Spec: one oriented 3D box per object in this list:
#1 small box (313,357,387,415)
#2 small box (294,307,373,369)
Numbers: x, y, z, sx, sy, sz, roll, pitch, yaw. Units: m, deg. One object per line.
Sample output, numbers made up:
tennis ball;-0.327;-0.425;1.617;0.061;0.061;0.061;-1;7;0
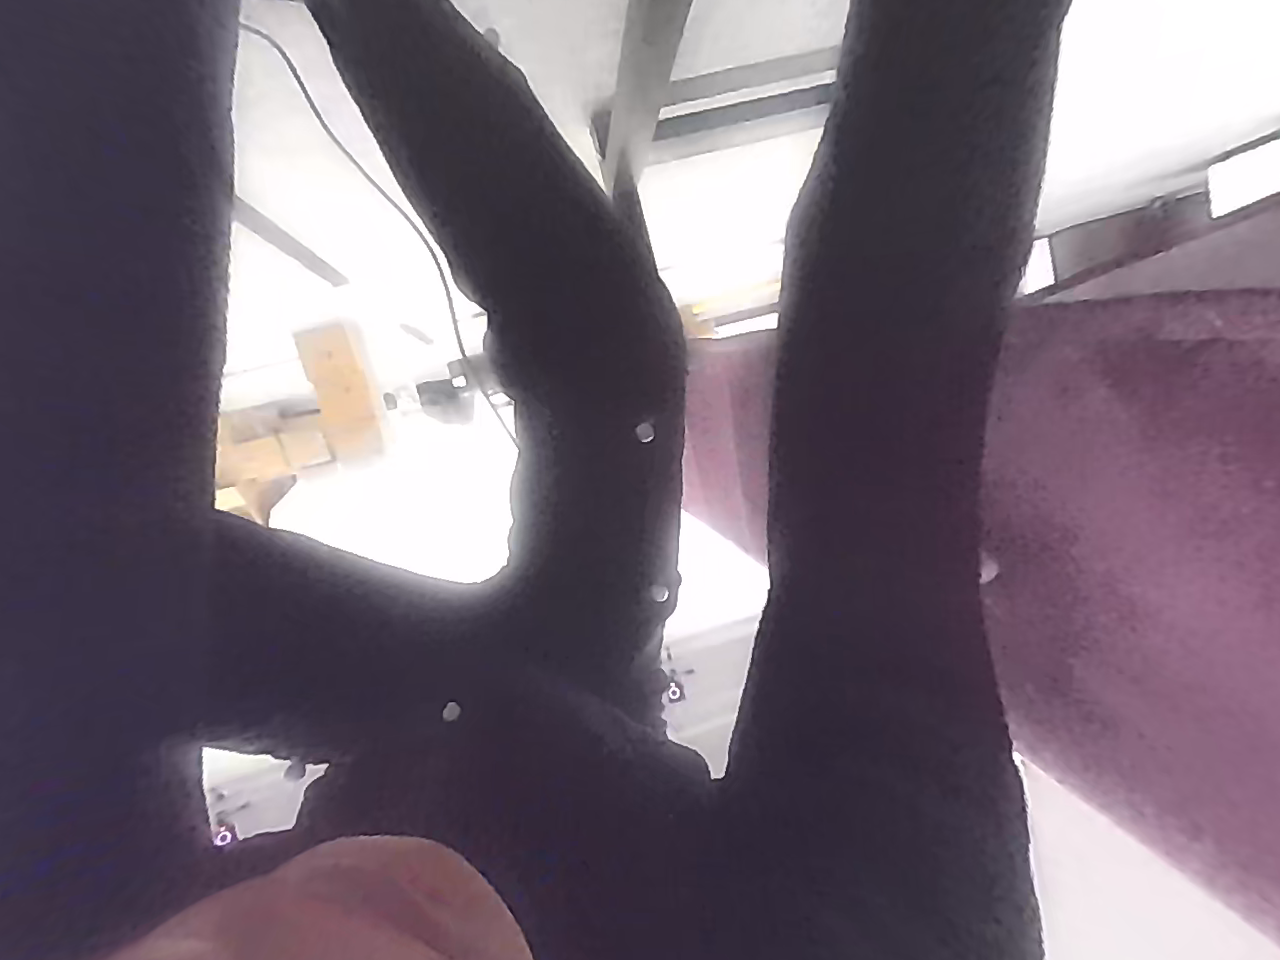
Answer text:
small box;-1.023;-0.332;1.913;0.168;0.176;0.179;-15;-172;-10
small box;-1.064;-0.485;1.876;0.179;0.176;0.168;-16;-171;-5
